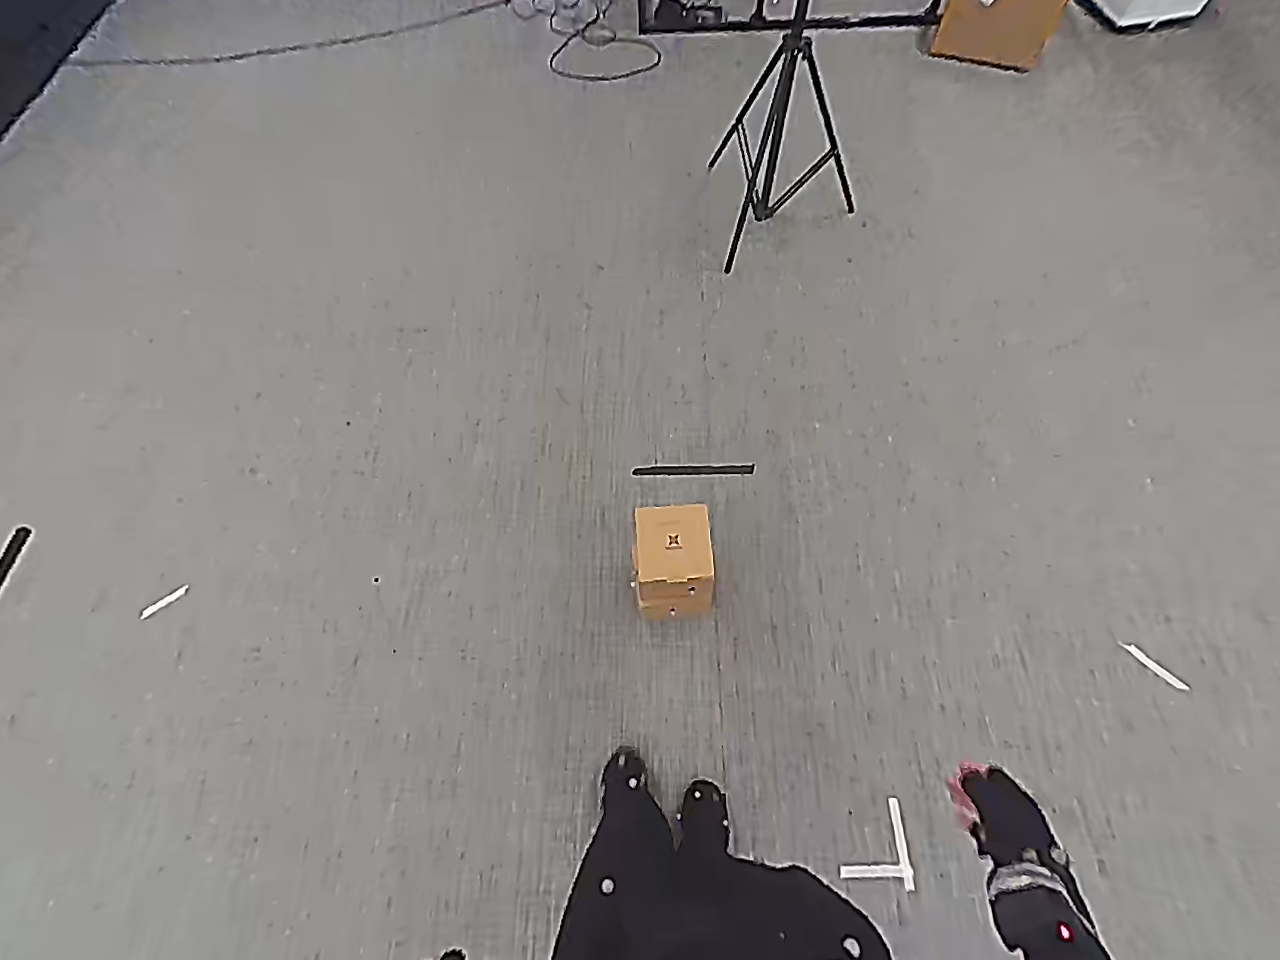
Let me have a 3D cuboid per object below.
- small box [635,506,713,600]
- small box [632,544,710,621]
[{"bbox_3d":[0.075,0.175,1.255,0.168,0.176,0.179,-3,63,-1],"label":"small box"},{"bbox_3d":[0.077,0.259,1.394,0.179,0.176,0.168,-7,64,0],"label":"small box"}]
